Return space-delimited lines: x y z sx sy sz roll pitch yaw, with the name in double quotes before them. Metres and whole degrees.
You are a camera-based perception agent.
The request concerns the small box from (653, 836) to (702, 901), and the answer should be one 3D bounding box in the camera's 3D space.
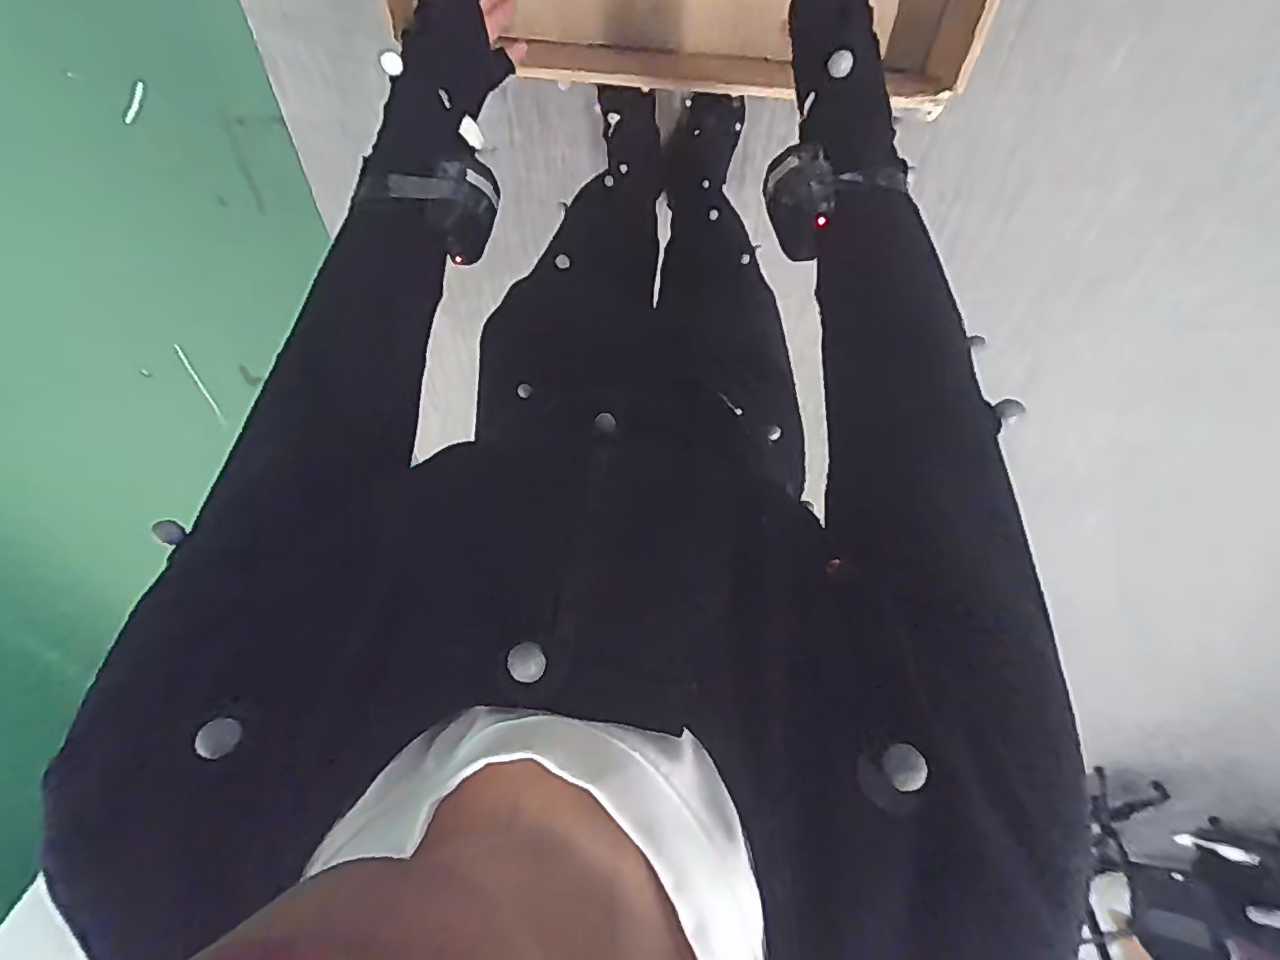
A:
"small box" 0.149 1.508 2.103 0.179 0.176 0.168 4 134 9
